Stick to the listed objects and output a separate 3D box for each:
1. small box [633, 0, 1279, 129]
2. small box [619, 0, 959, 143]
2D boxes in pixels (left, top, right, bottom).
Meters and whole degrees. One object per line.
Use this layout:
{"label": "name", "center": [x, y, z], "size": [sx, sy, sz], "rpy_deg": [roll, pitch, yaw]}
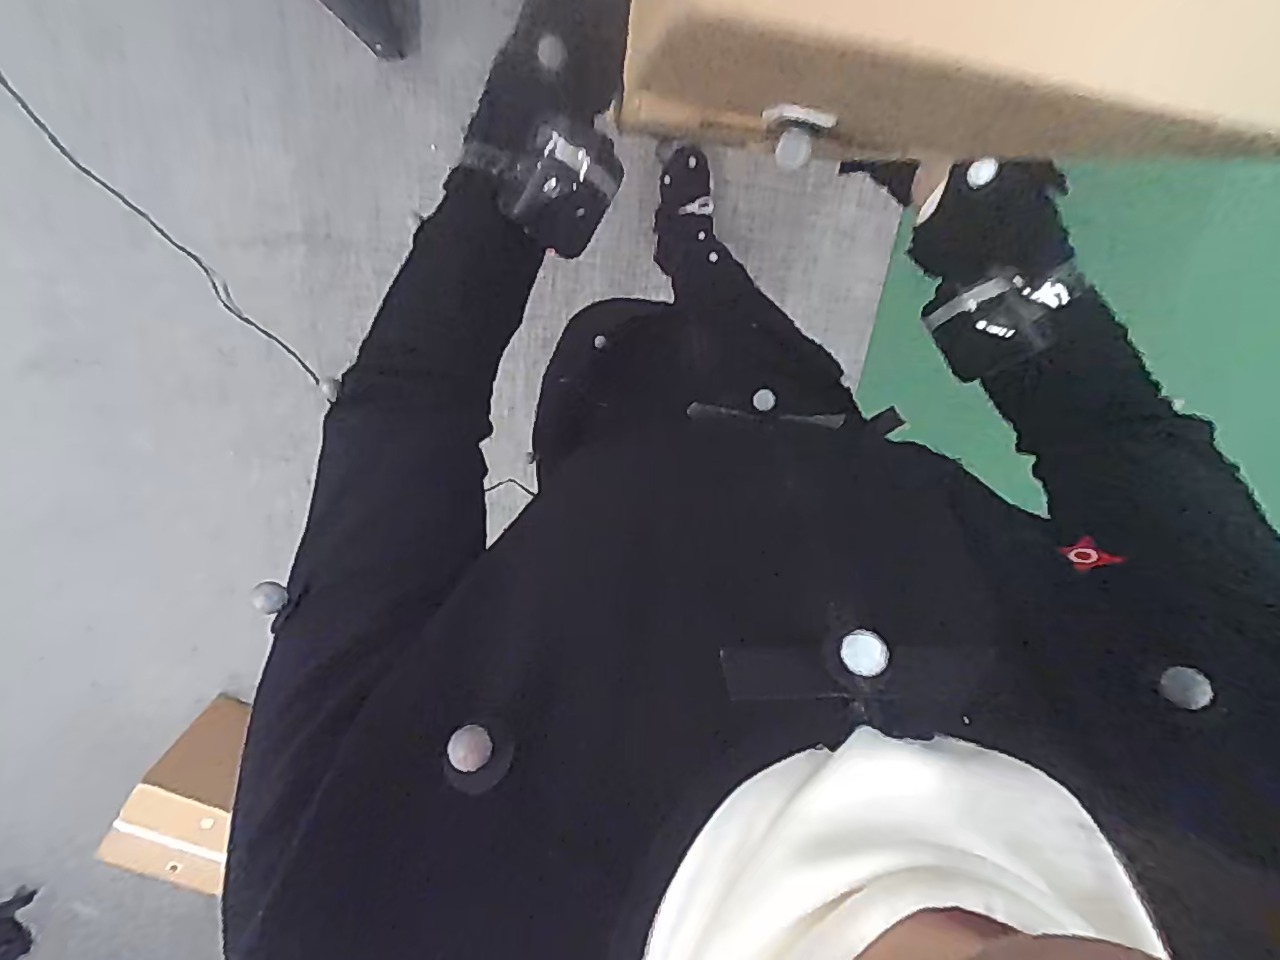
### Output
{"label": "small box", "center": [0.091, -0.207, 0.136], "size": [0.168, 0.176, 0.179], "rpy_deg": [5, 120, -7]}
{"label": "small box", "center": [0.078, -0.284, 0.277], "size": [0.168, 0.176, 0.179], "rpy_deg": [2, 119, -7]}
